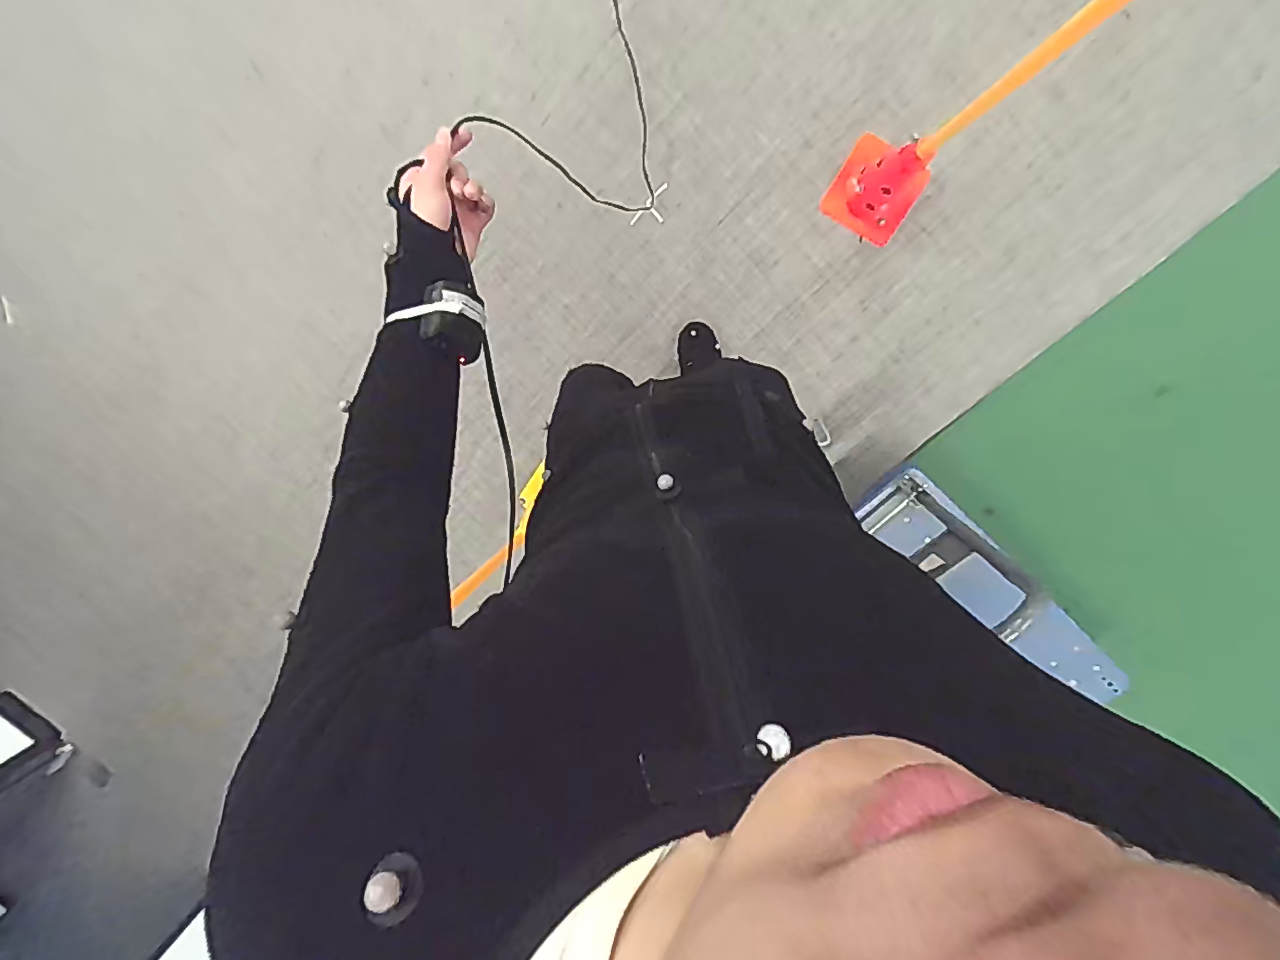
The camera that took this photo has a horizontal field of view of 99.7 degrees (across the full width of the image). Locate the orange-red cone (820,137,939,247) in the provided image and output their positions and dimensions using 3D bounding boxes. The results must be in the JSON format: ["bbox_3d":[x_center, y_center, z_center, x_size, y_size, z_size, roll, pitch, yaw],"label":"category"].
[{"bbox_3d":[0.560,-0.669,1.181,0.198,0.360,0.199,31,106,-3],"label":"orange-red cone"}]
